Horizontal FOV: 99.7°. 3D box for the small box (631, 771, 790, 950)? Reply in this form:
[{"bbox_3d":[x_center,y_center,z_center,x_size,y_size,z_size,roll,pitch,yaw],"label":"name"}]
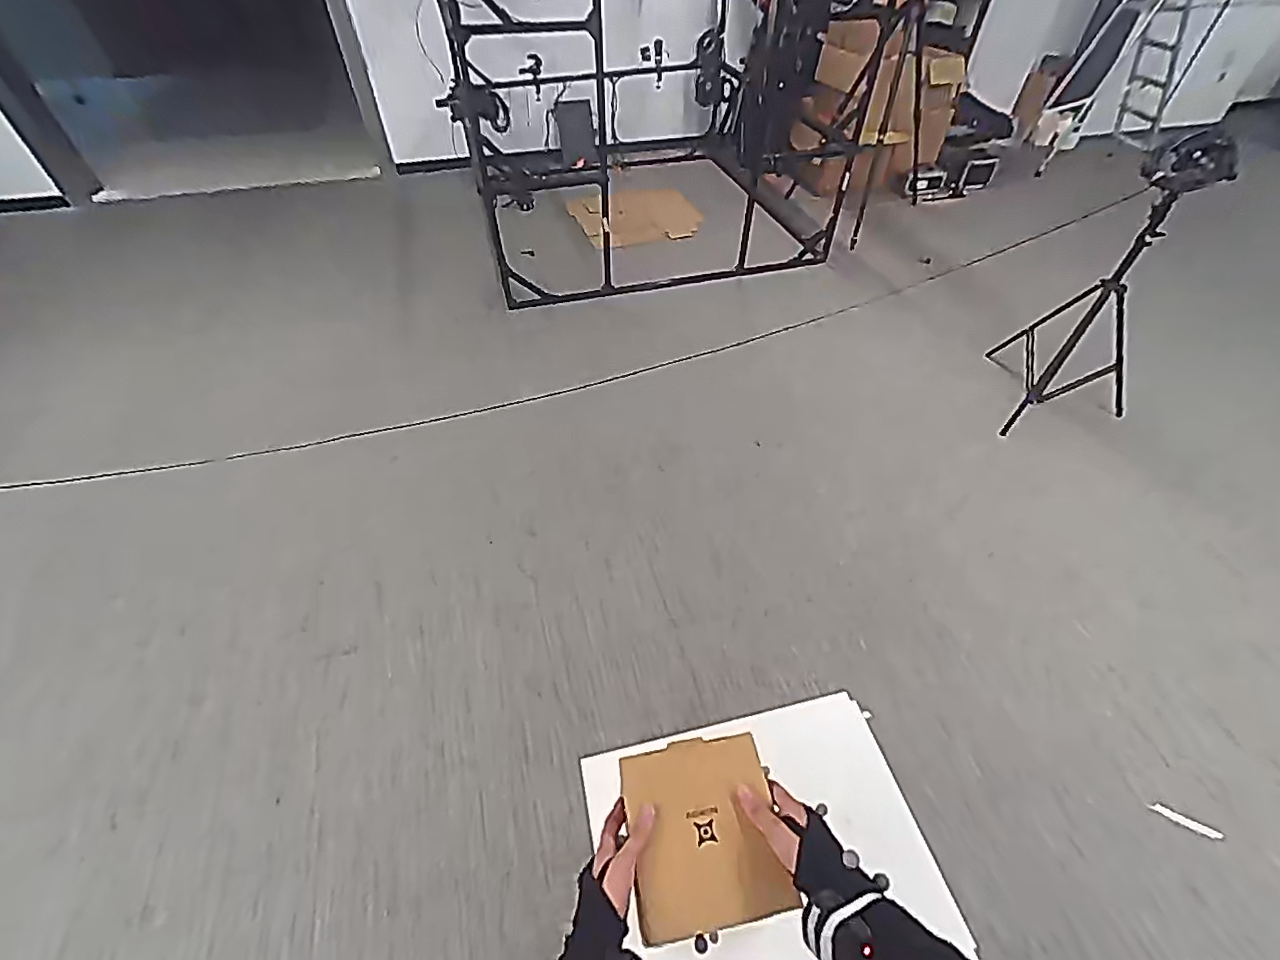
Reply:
[{"bbox_3d":[0.088,0.545,0.773,0.179,0.176,0.168,-8,48,-9],"label":"small box"}]
